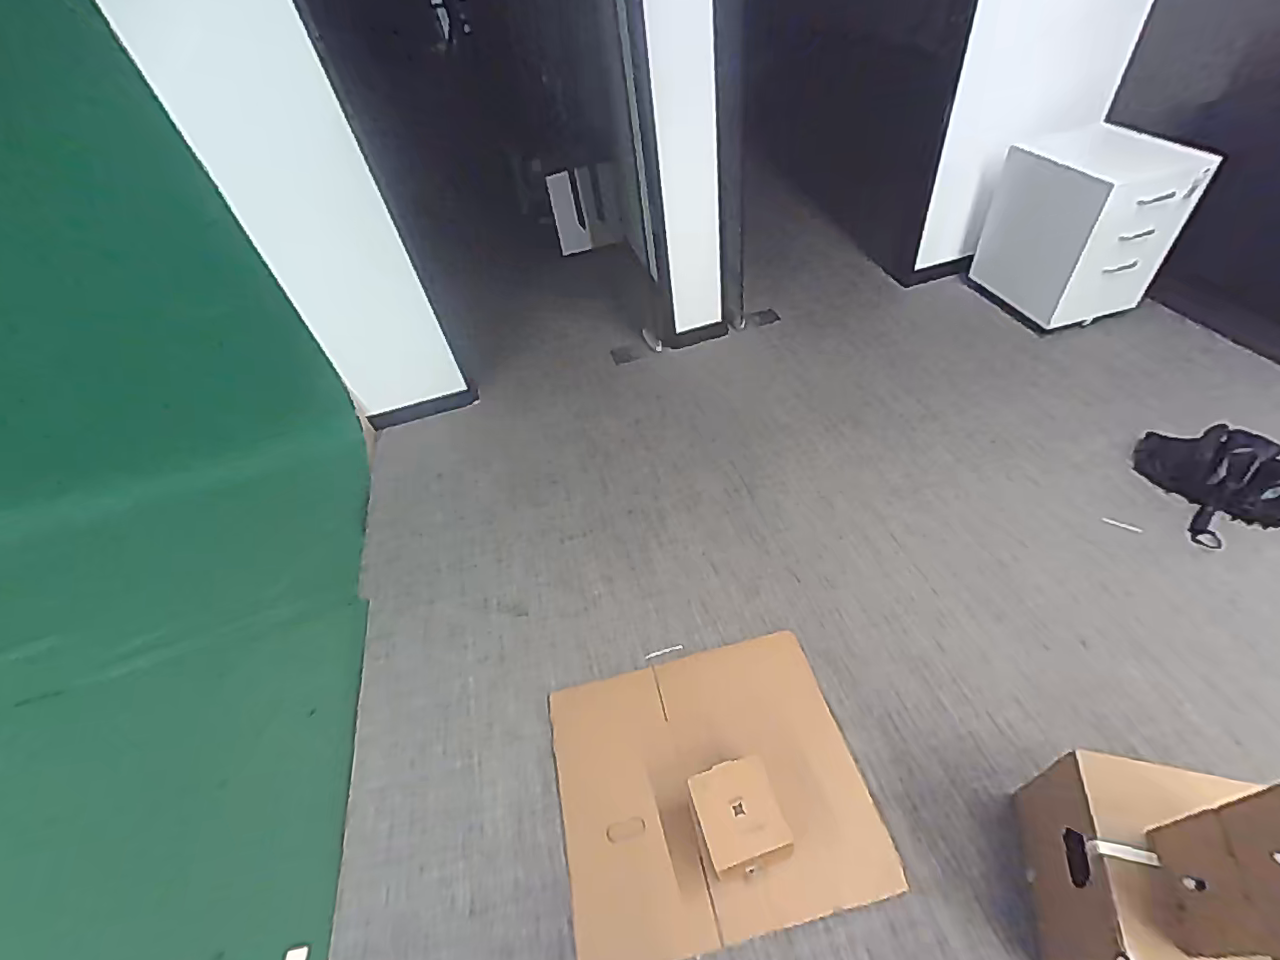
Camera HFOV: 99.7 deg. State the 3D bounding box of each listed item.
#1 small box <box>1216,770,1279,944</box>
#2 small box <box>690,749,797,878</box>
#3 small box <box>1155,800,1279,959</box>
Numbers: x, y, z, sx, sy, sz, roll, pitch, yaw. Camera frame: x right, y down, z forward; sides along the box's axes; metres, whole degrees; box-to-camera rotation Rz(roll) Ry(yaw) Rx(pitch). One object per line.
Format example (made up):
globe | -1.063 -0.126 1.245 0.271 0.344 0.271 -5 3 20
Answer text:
small box | 0.849 0.467 0.629 0.168 0.176 0.179 7 48 16
small box | 0.218 0.714 1.155 0.168 0.176 0.179 -20 47 -3
small box | 0.880 0.573 0.754 0.179 0.176 0.168 3 47 12
